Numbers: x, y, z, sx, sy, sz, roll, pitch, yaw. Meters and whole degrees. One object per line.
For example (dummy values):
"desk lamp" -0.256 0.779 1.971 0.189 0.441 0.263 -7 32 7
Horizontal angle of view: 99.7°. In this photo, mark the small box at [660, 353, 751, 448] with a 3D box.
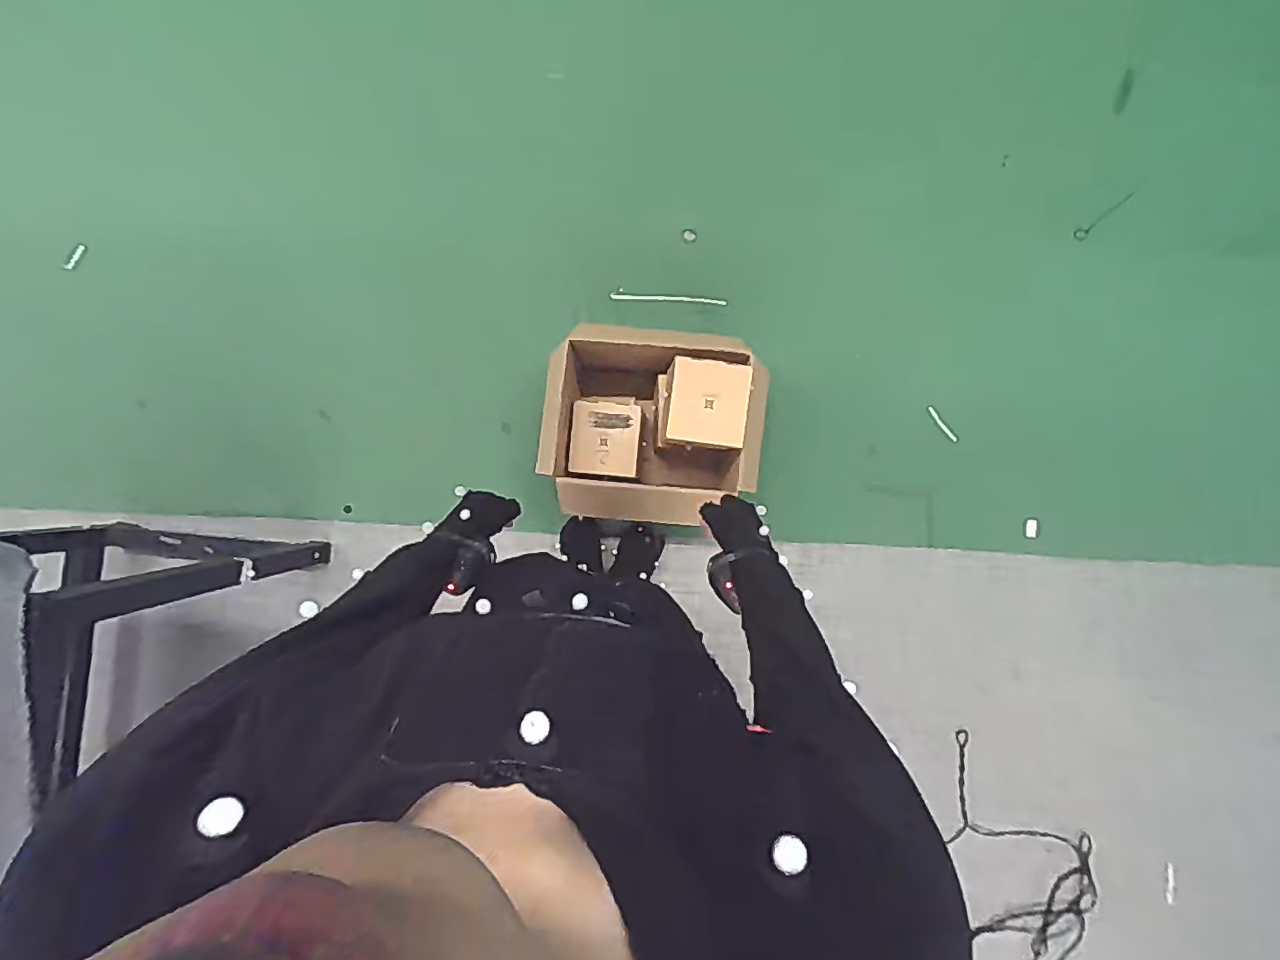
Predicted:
"small box" 0.137 -0.168 1.202 0.168 0.176 0.179 7 90 -3
